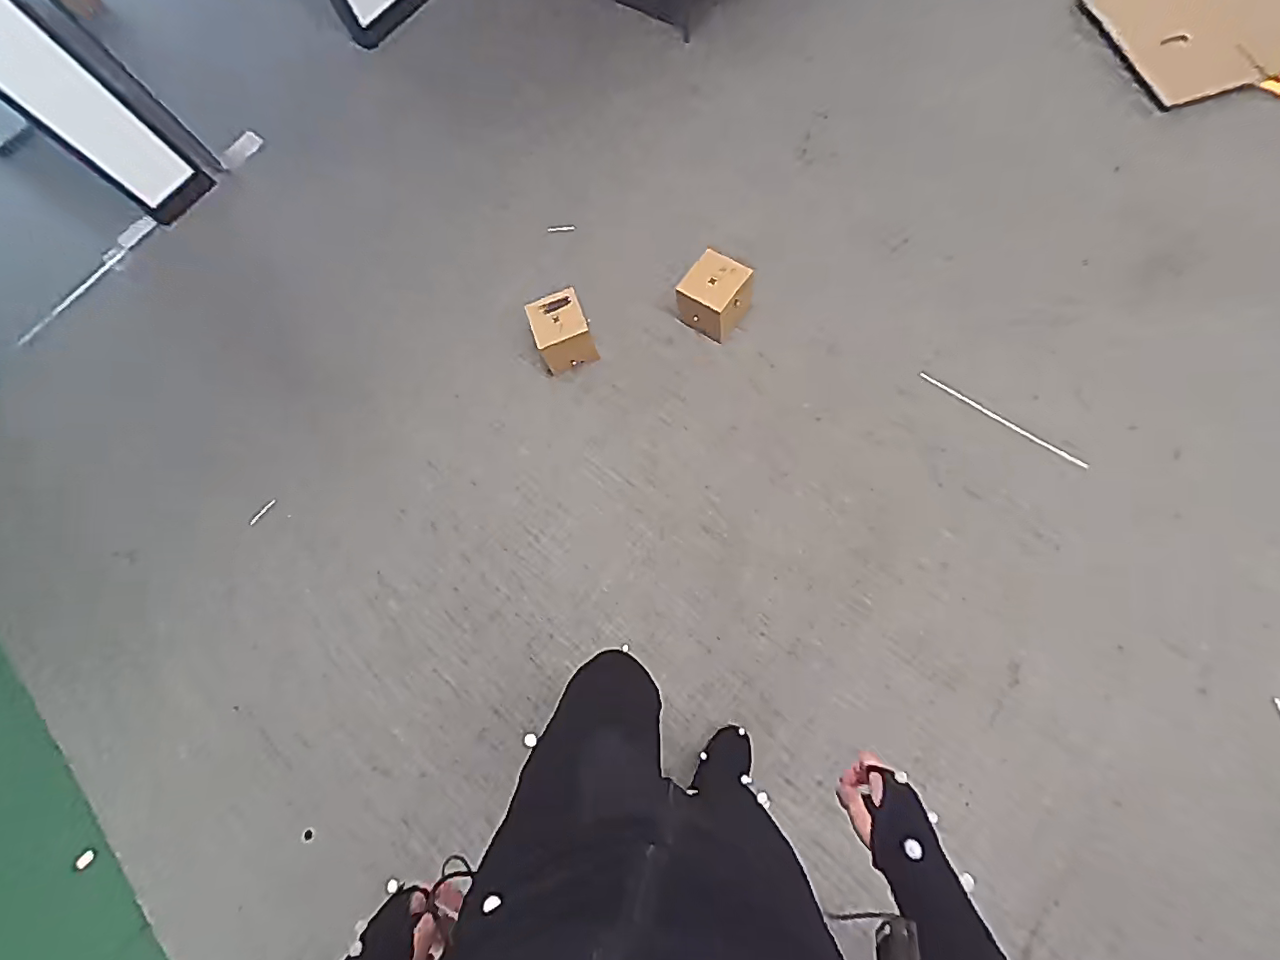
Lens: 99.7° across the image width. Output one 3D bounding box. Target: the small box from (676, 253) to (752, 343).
[{"bbox_3d":[0.234,-0.561,1.689,0.168,0.176,0.179,35,80,18],"label":"small box"}]
